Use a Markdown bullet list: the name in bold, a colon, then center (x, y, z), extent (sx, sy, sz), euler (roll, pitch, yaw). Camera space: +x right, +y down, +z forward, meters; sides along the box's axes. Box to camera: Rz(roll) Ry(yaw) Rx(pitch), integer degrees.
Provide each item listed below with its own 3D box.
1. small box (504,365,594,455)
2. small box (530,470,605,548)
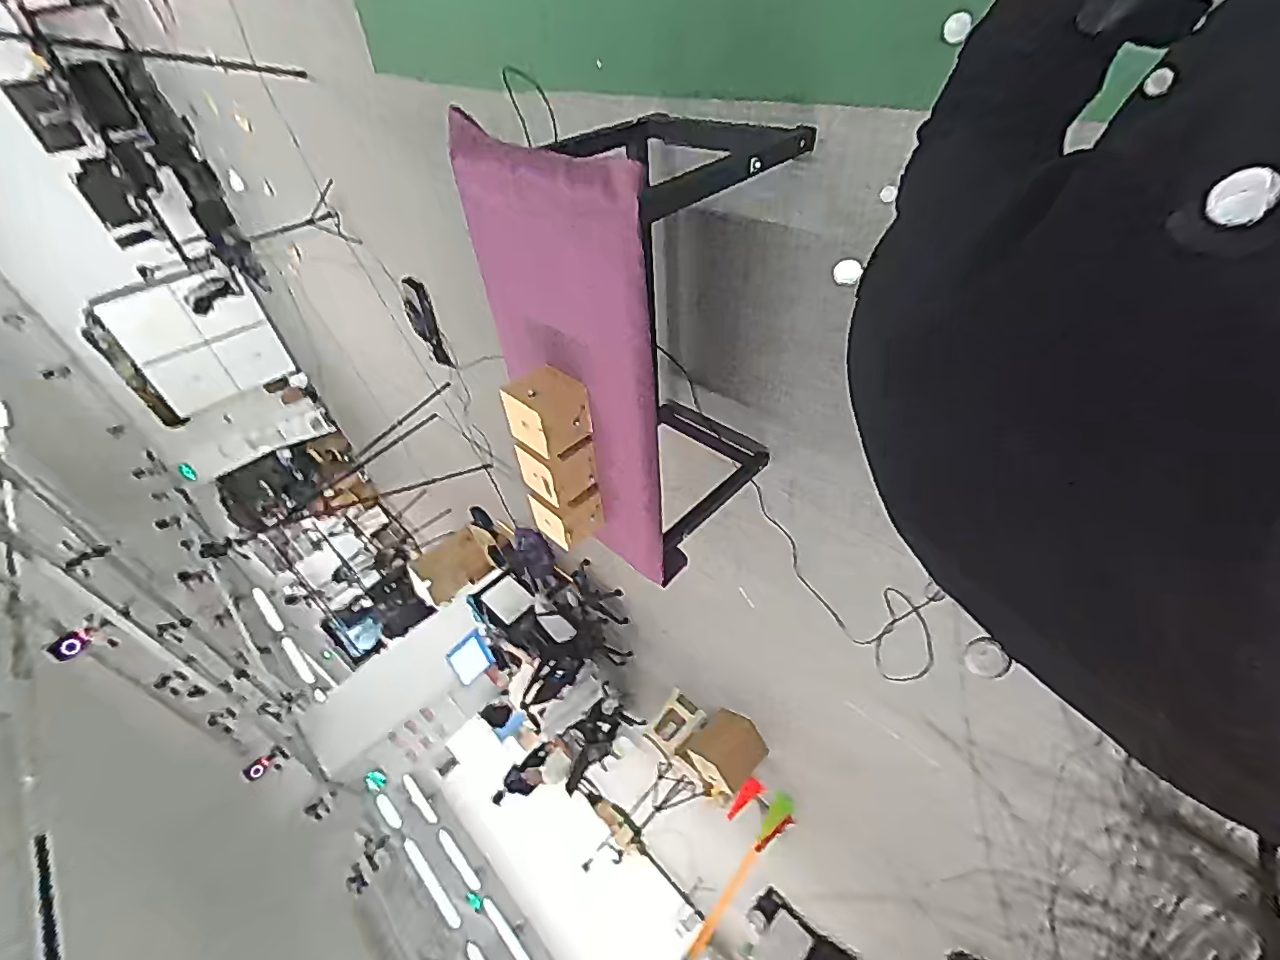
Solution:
- **small box**: center (-0.253, -0.205, 1.530), extent (0.179, 0.176, 0.168), euler (32, 144, 31)
- **small box**: center (-0.240, 0.090, 1.821), extent (0.179, 0.176, 0.168), euler (33, 145, 32)
